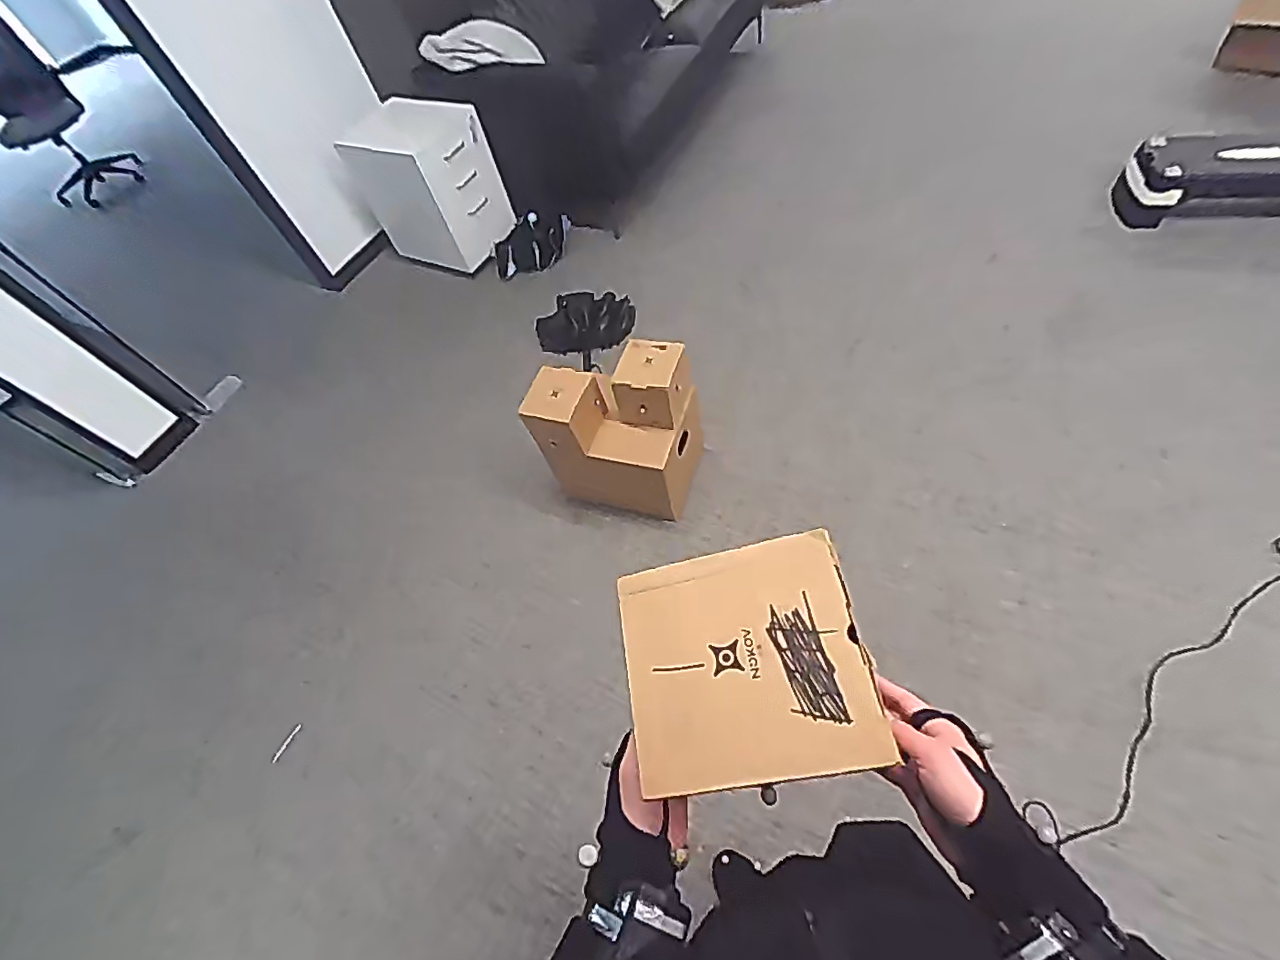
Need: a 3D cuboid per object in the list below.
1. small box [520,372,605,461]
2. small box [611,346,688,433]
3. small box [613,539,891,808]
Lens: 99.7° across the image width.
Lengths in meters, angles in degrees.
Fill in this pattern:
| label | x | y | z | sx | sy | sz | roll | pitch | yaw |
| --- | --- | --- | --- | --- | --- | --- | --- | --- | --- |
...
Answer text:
| label | x | y | z | sx | sy | sz | roll | pitch | yaw |
| --- | --- | --- | --- | --- | --- | --- | --- | --- | --- |
| small box | -0.213 | -0.182 | 1.558 | 0.168 | 0.176 | 0.179 | 12 | 64 | 20 |
| small box | 0.035 | -0.257 | 1.551 | 0.168 | 0.176 | 0.179 | 10 | 59 | 18 |
| small box | 0.094 | 0.170 | 0.464 | 0.179 | 0.176 | 0.168 | -17 | 60 | 14 |
